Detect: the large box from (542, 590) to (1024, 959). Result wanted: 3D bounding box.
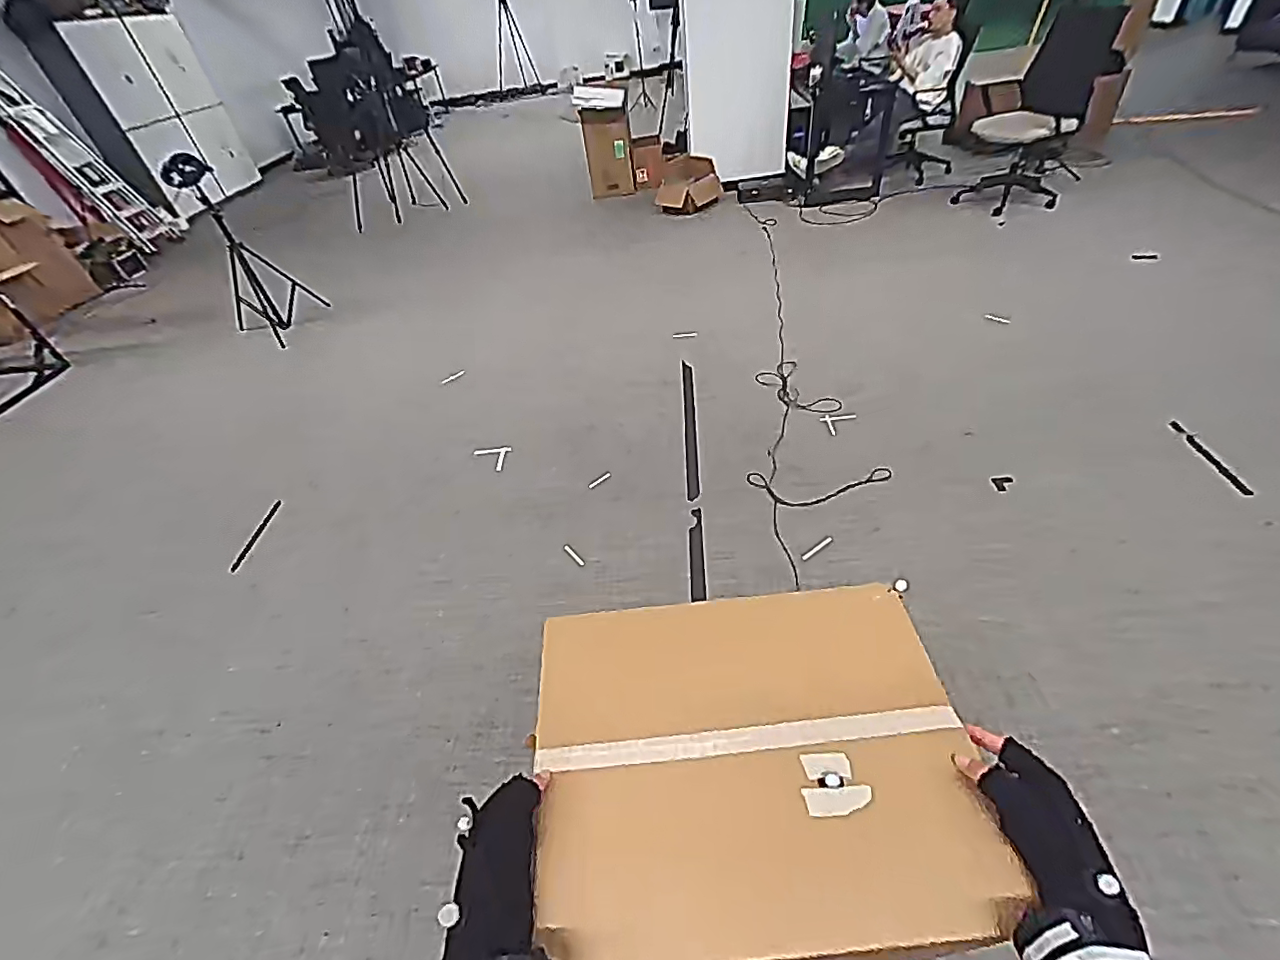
[{"bbox_3d":[0.112,0.366,0.641,0.408,0.320,0.320,-6,46,-1],"label":"large box"}]
